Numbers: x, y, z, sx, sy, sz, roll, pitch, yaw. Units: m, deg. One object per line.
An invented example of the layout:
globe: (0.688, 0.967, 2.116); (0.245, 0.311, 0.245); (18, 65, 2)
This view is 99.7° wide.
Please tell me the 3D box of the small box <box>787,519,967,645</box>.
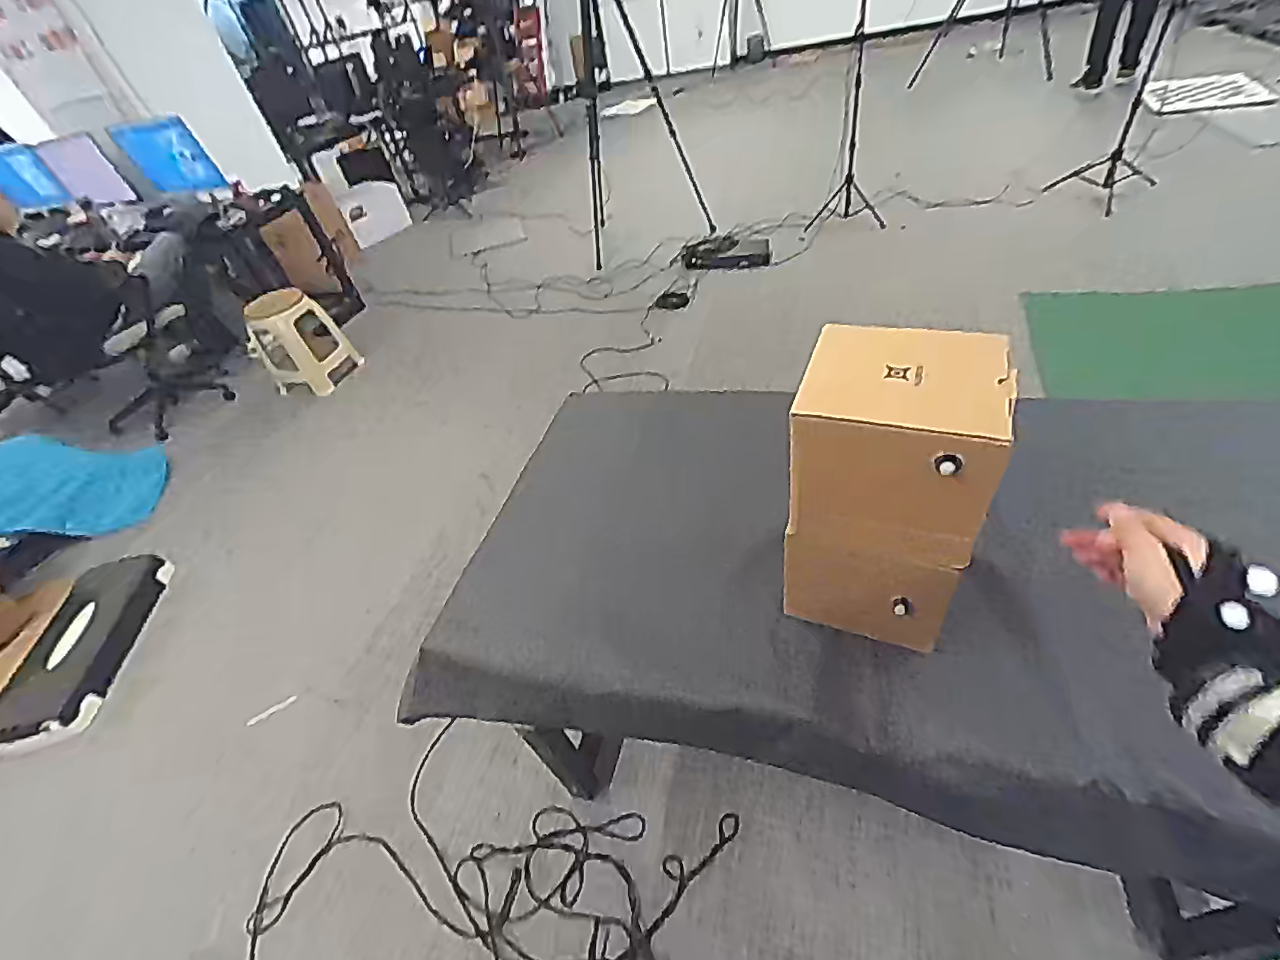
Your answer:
small box: (0.288, 0.078, 0.667); (0.179, 0.176, 0.168); (11, 47, 24)

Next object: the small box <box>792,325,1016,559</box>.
small box: (0.262, -0.041, 0.559); (0.179, 0.176, 0.168); (11, 48, 24)
